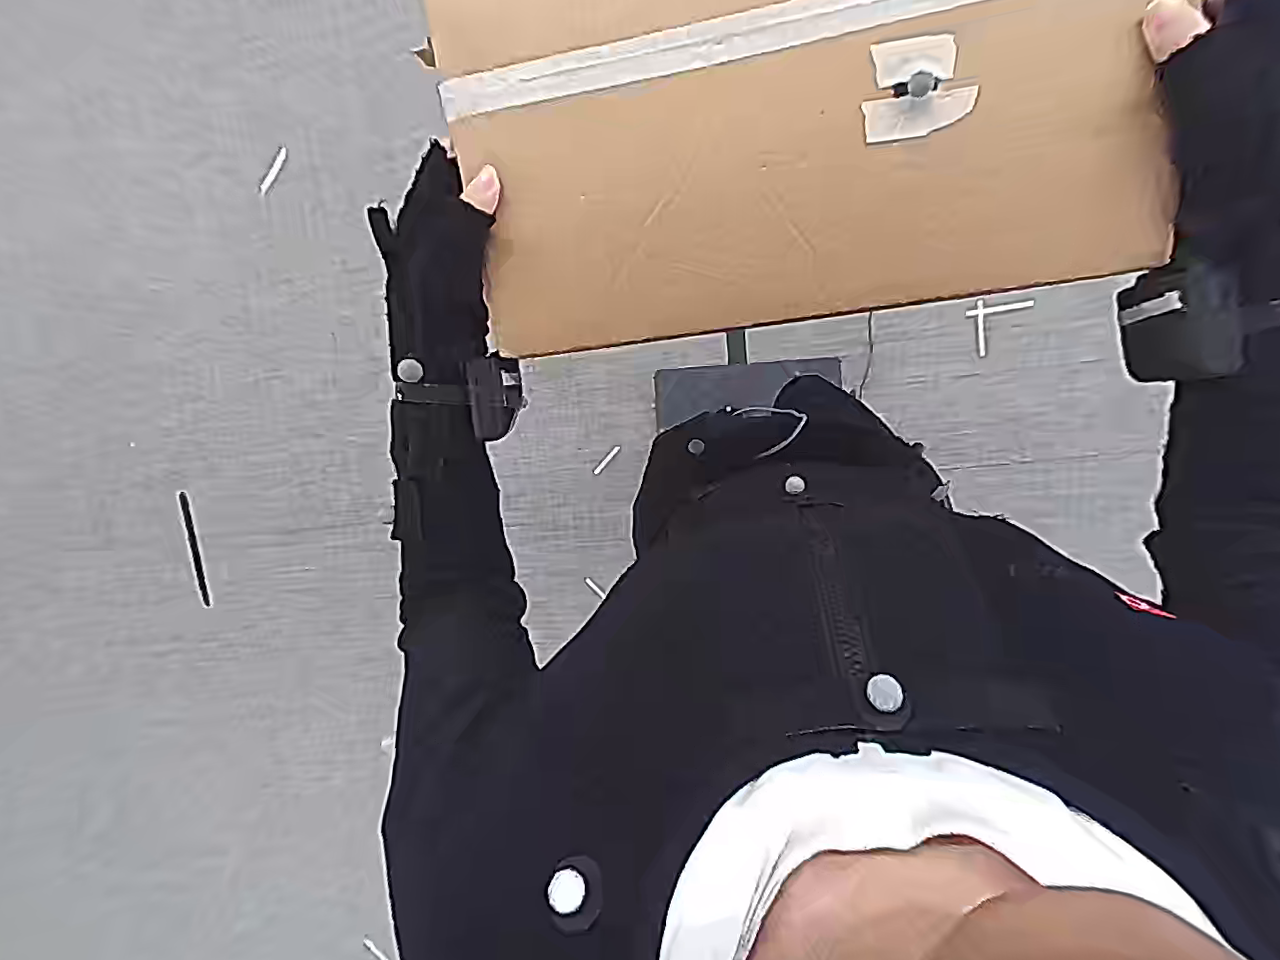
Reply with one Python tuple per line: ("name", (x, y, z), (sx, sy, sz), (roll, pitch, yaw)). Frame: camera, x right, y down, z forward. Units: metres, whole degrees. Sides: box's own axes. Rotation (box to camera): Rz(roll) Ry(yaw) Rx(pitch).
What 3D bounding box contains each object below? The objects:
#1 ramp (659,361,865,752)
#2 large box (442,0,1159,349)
("ramp", (0.304, 0.193, 1.428), (0.509, 0.206, 0.991), (-4, 96, 11))
("large box", (0.096, -0.302, 0.457), (0.408, 0.320, 0.320), (-6, 106, 8))
